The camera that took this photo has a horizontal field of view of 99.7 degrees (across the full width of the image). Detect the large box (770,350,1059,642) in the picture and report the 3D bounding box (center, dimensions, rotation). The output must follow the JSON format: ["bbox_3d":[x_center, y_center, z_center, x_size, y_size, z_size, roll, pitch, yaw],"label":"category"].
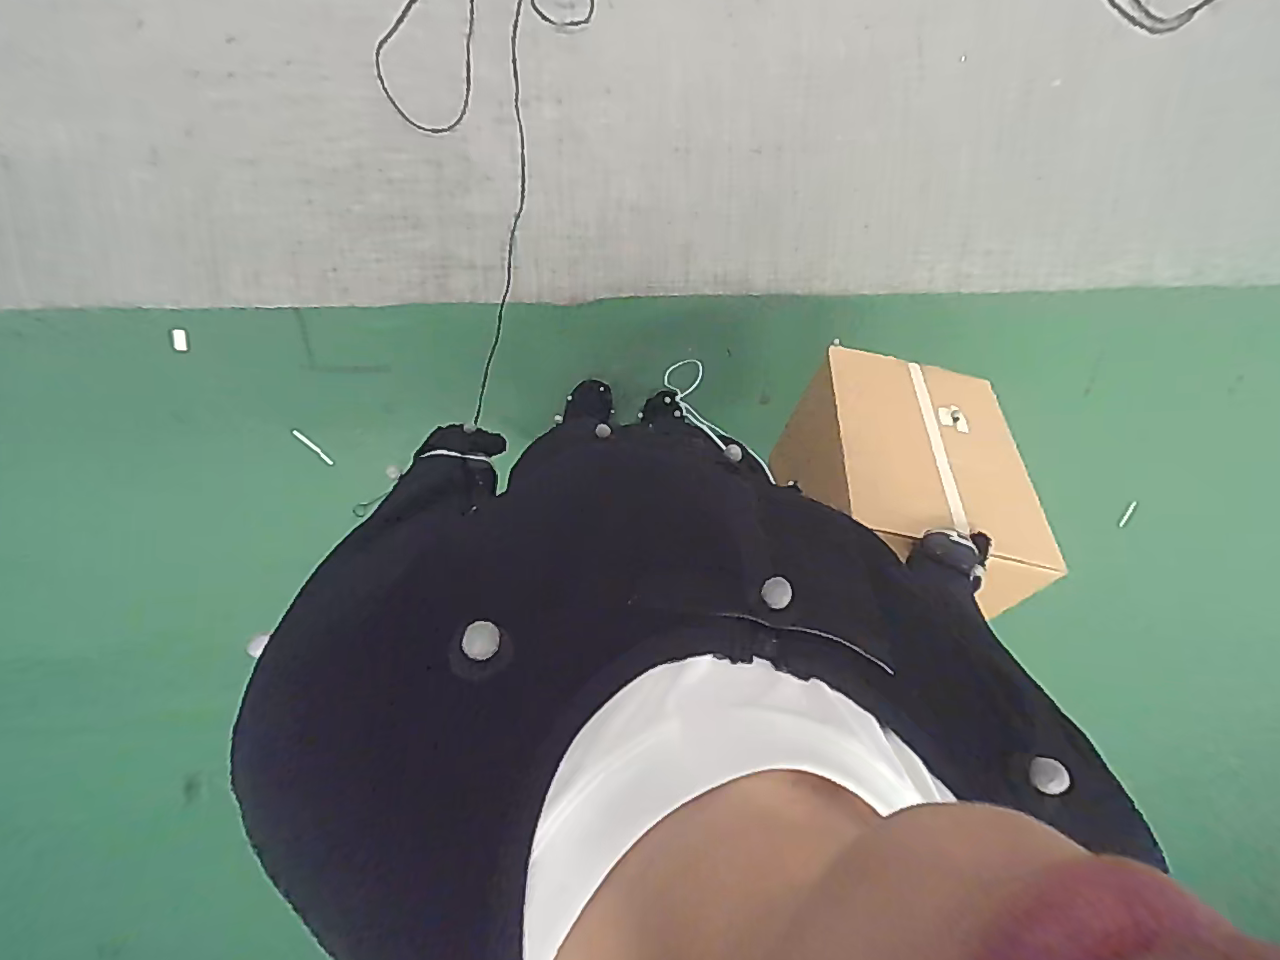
[{"bbox_3d":[0.441,0.032,0.988,0.320,0.408,0.320,12,141,-3],"label":"large box"}]
